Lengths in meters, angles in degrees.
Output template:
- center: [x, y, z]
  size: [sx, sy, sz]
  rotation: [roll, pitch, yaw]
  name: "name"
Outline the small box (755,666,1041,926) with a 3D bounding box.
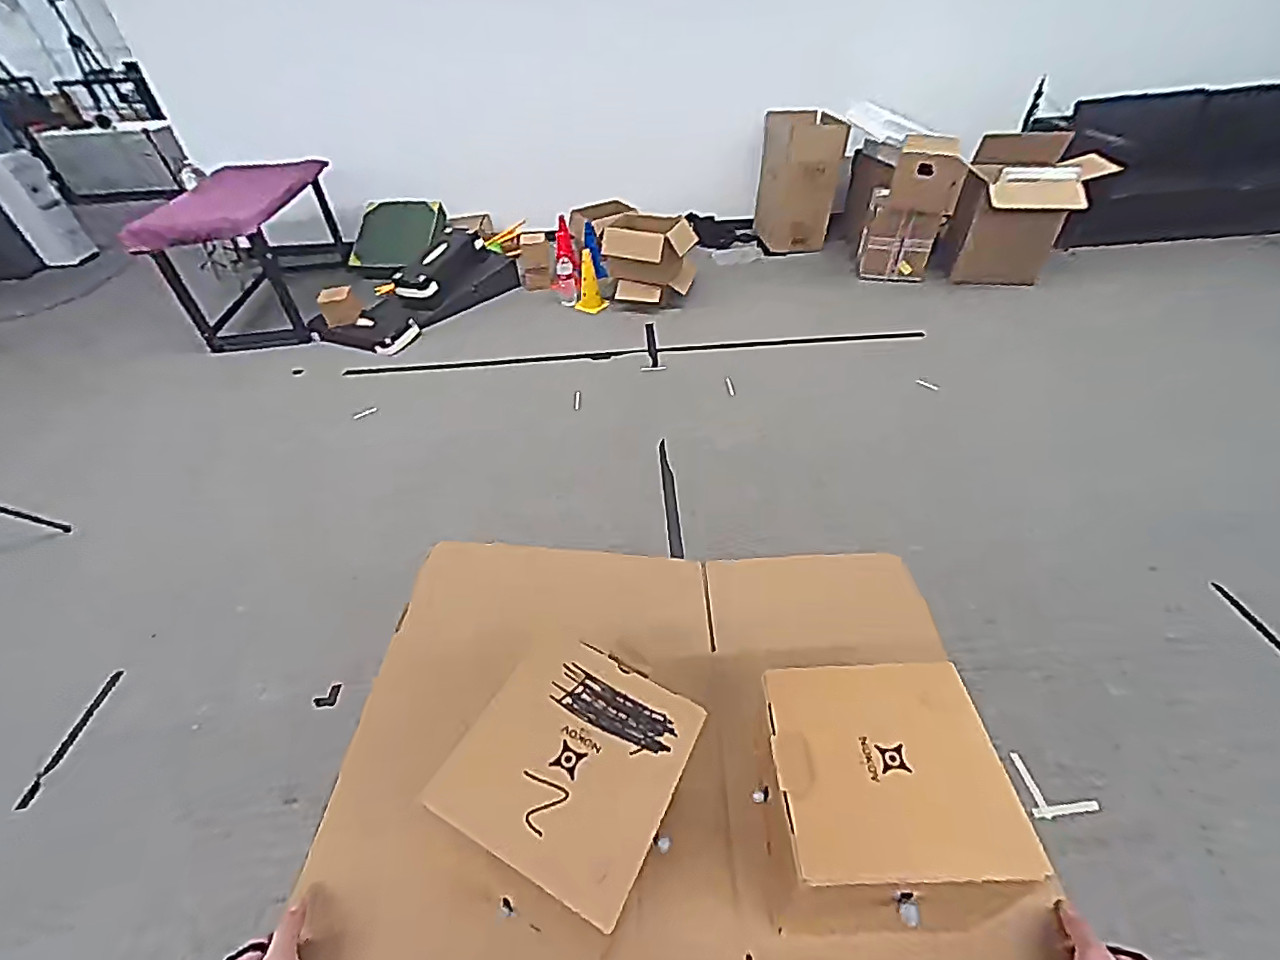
- center: [0.210, 0.292, 0.503]
  size: [0.179, 0.176, 0.168]
  rotation: [-4, 40, 4]
  name: "small box"
